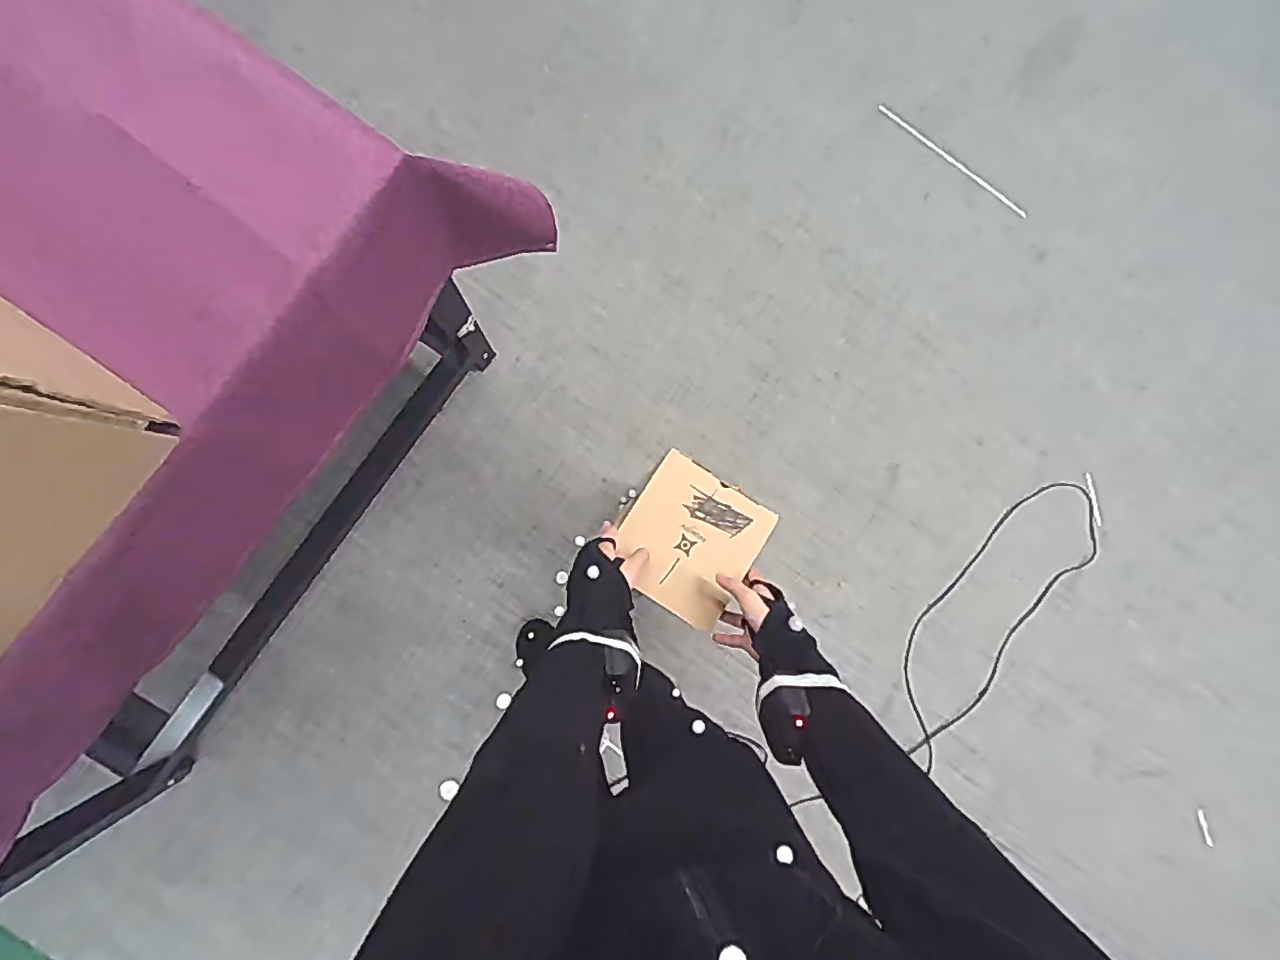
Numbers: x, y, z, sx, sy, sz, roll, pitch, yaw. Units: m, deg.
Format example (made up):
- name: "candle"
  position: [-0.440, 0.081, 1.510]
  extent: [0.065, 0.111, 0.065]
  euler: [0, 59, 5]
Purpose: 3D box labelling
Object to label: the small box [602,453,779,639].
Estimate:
- name: "small box"
  position: [0.056, 0.087, 0.749]
  extent: [0.168, 0.176, 0.179]
  euler: [33, 83, -1]
